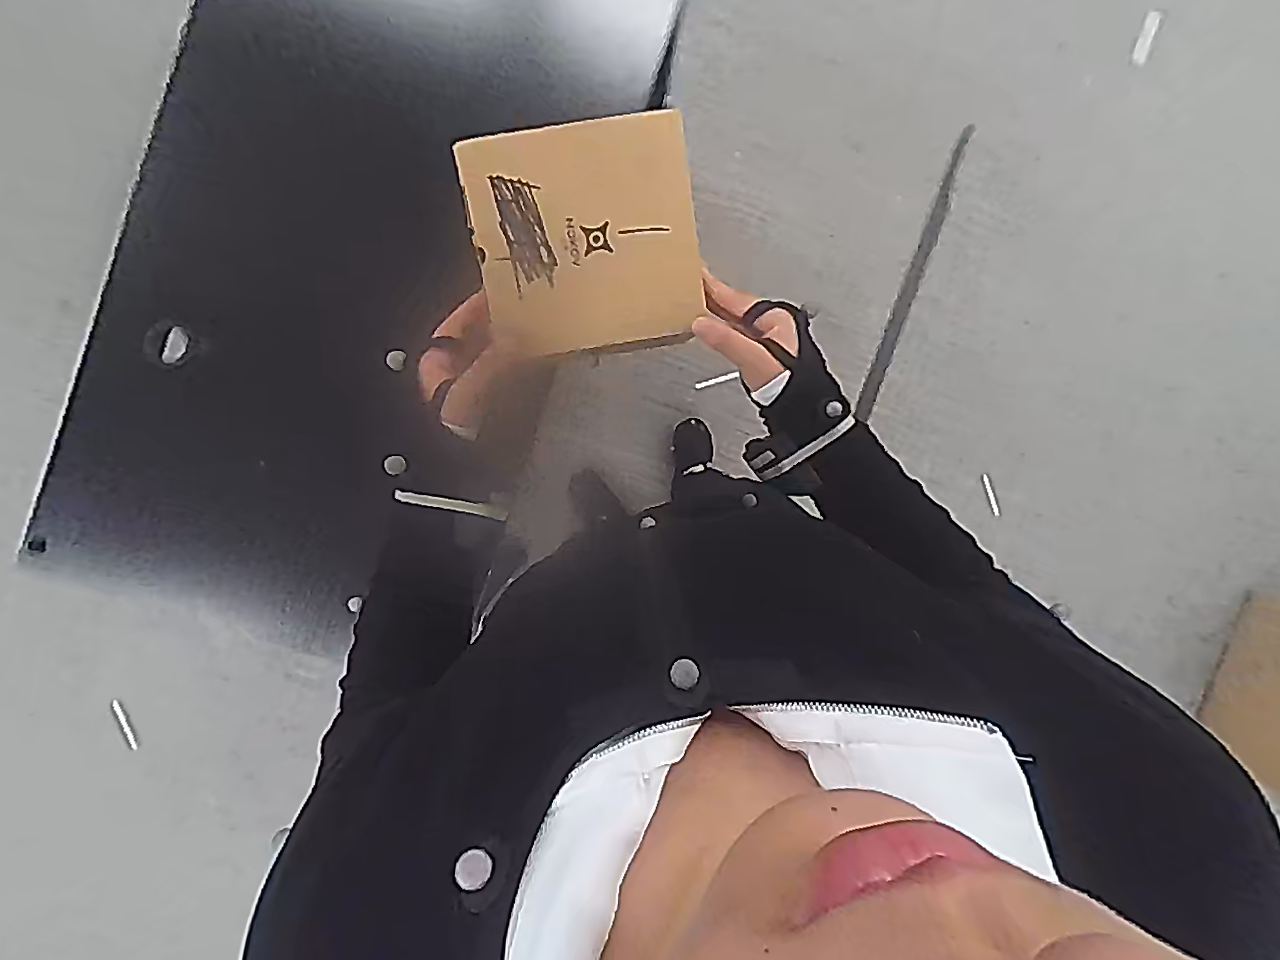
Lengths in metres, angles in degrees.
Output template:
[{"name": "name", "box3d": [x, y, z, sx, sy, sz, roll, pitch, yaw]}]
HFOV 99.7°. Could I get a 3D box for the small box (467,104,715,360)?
[{"name": "small box", "box3d": [-0.038, -0.206, 0.499, 0.179, 0.176, 0.168, -9, 101, -1]}]
